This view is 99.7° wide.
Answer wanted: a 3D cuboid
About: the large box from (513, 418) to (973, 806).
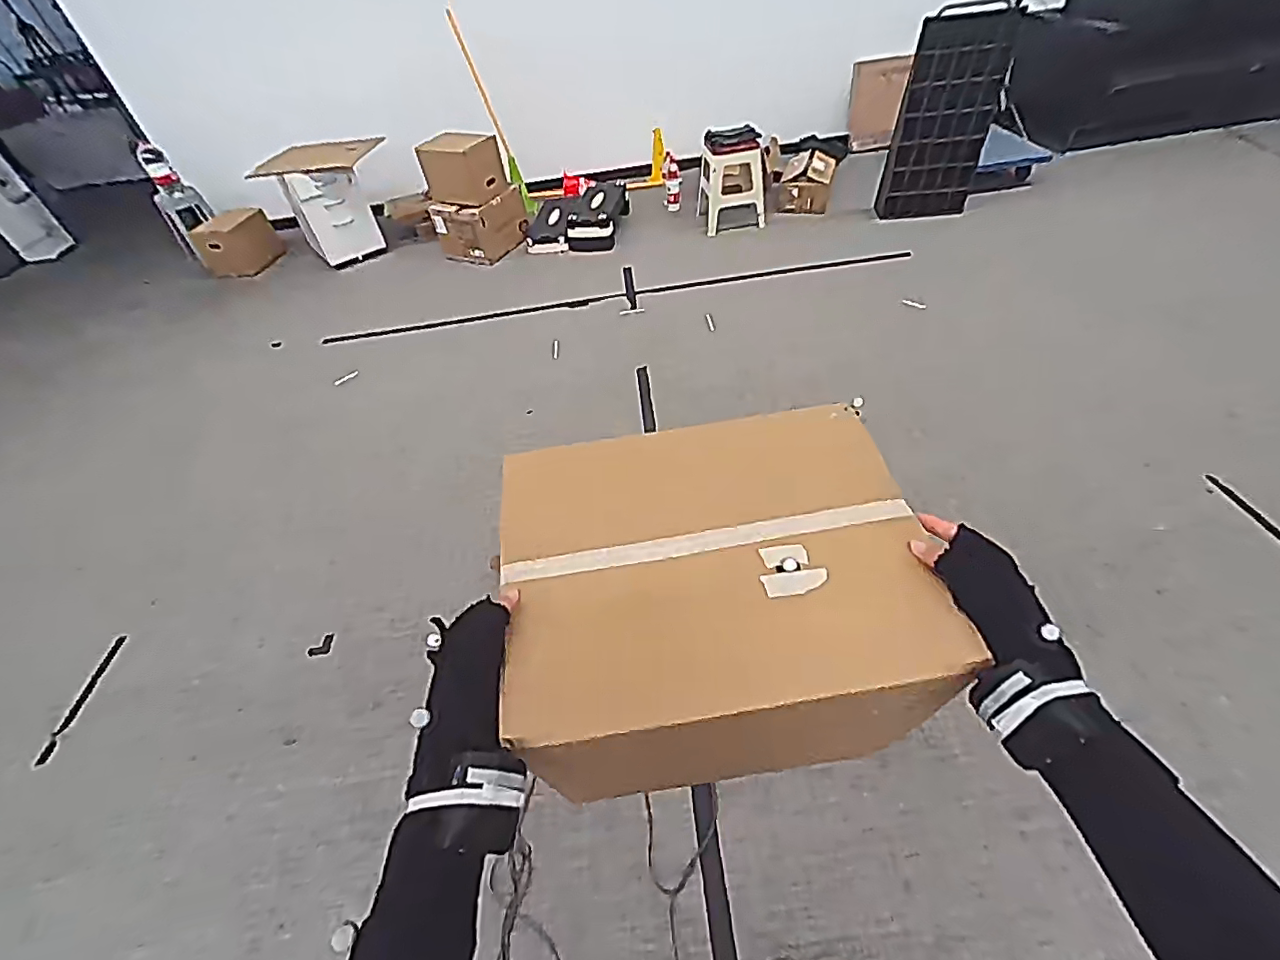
[{"bbox_3d":[0.079,0.168,0.660,0.408,0.320,0.320,-9,52,-2],"label":"large box"}]
